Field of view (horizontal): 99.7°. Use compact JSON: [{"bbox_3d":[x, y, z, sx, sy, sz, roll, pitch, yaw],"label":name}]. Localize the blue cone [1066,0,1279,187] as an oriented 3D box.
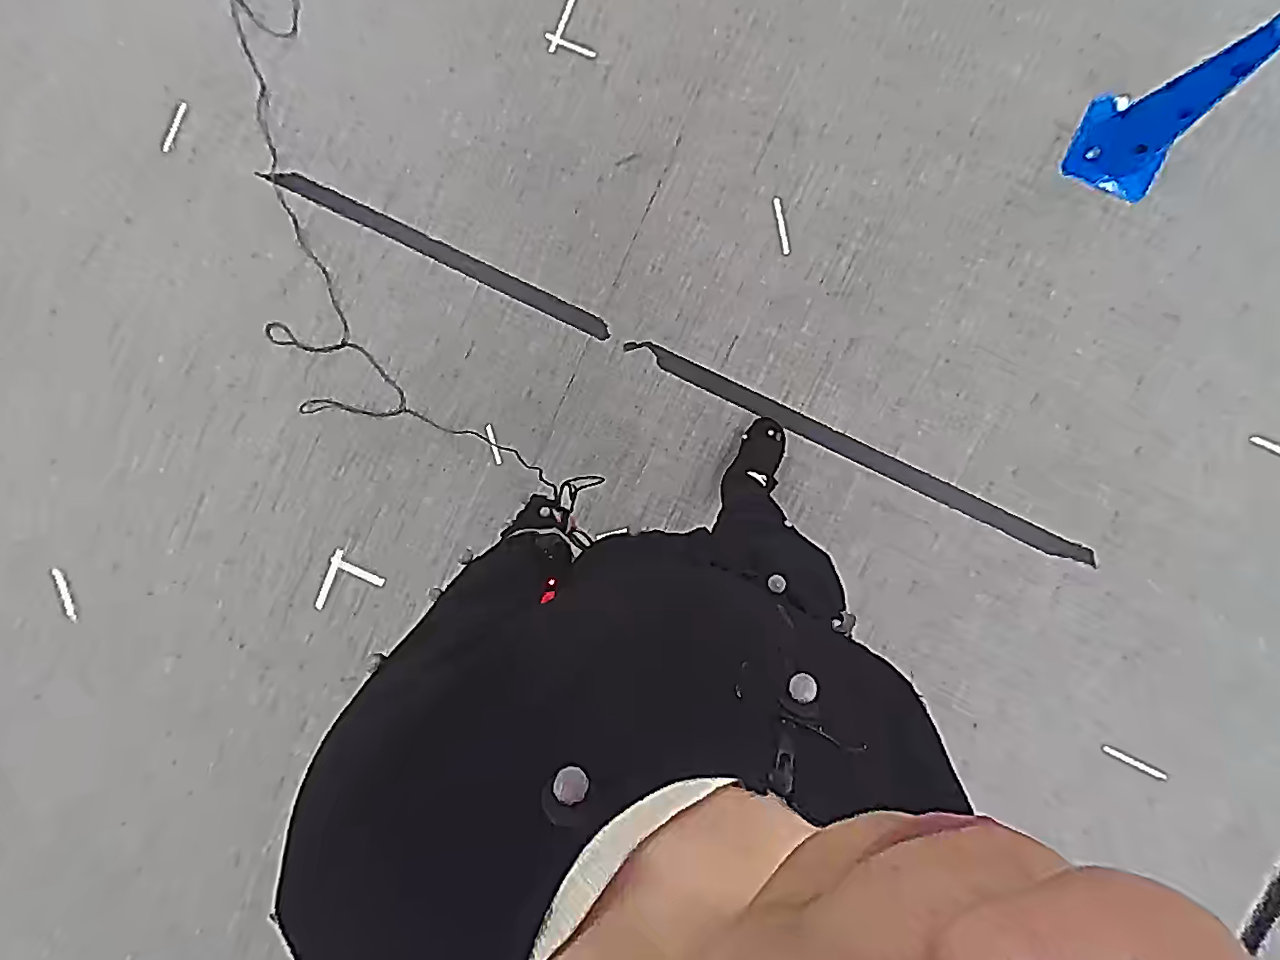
[{"bbox_3d":[1.083,-0.778,1.077,0.193,0.380,0.192,26,92,4],"label":"blue cone"}]
